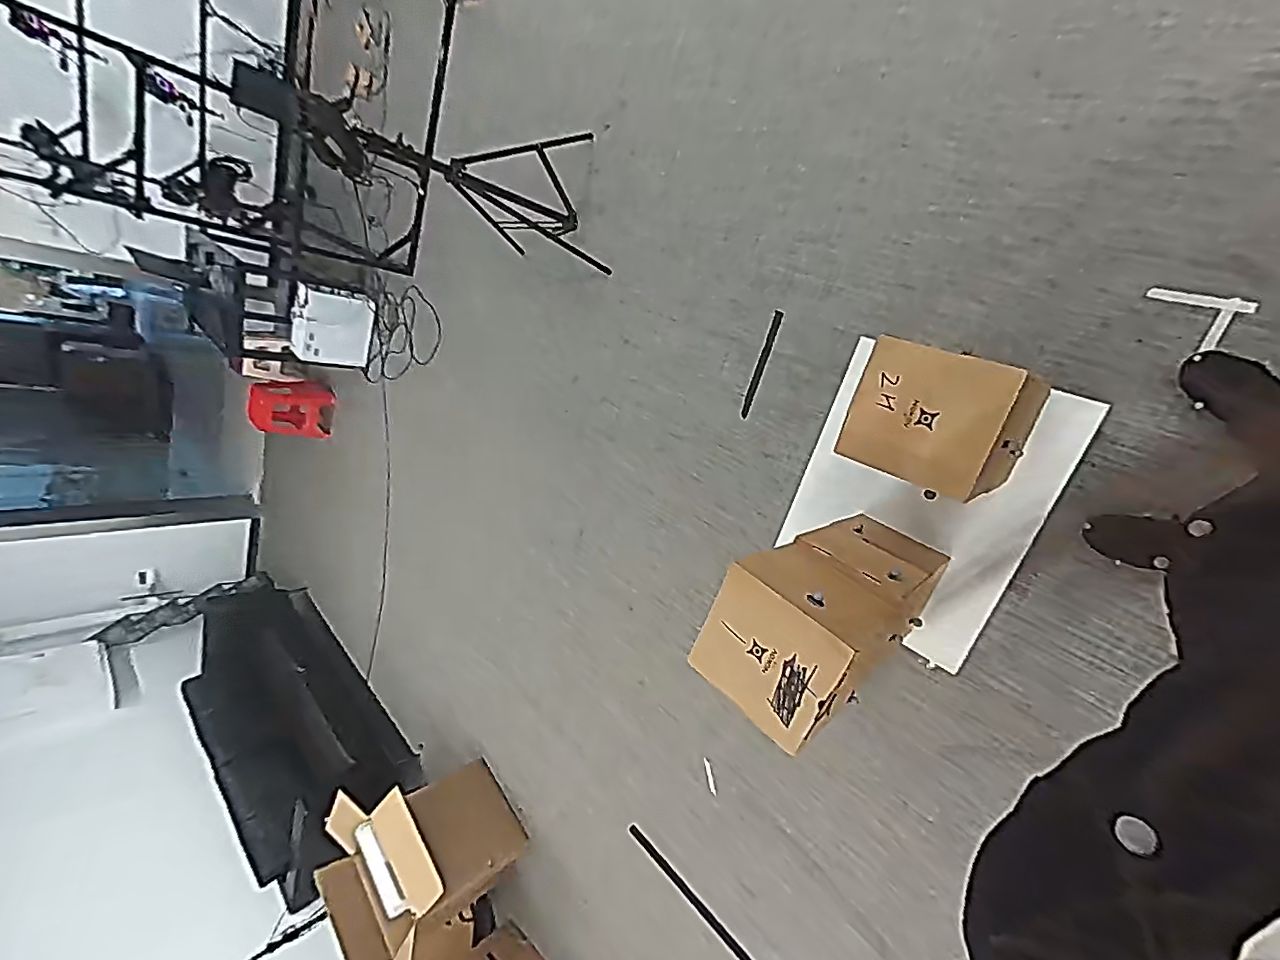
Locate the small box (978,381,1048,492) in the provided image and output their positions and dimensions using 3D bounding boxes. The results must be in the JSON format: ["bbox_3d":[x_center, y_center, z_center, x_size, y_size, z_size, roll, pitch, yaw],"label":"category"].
[{"bbox_3d":[0.507,-0.093,0.857,0.179,0.176,0.168,28,113,36],"label":"small box"}]

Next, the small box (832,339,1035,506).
[{"bbox_3d":[0.399,-0.082,0.732,0.179,0.176,0.168,29,113,36],"label":"small box"}]

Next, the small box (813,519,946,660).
[{"bbox_3d":[0.412,0.181,0.963,0.179,0.176,0.168,32,113,35],"label":"small box"}]

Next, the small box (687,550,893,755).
[{"bbox_3d":[0.200,0.209,0.713,0.179,0.176,0.168,36,115,34],"label":"small box"}]
